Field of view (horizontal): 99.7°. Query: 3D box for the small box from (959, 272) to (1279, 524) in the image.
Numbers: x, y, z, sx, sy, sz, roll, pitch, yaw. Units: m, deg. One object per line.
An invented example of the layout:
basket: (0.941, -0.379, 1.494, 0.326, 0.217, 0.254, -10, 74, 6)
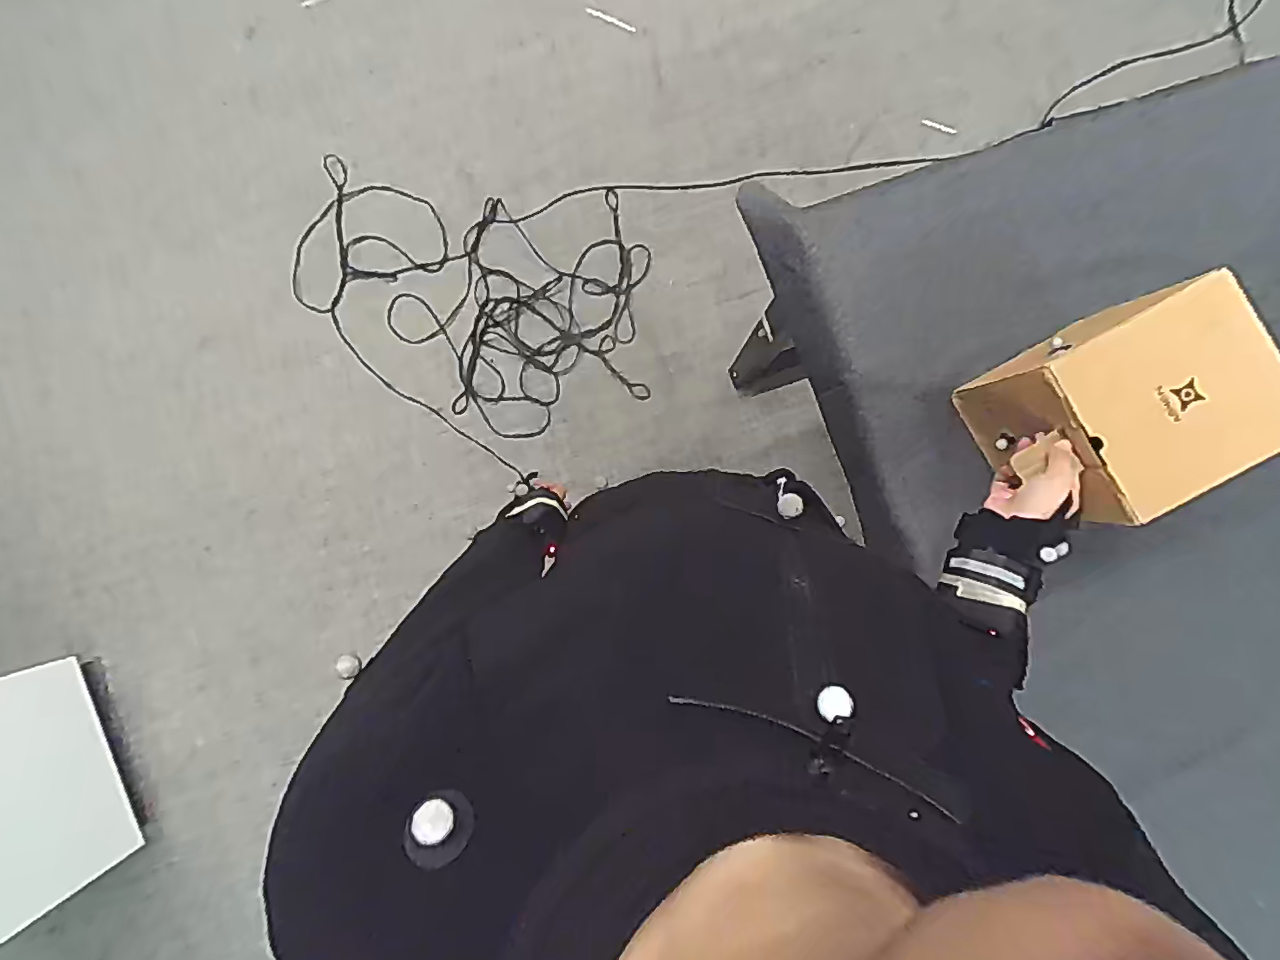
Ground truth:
small box: (0.480, -0.074, 0.554, 0.179, 0.176, 0.168, -30, 89, 3)
